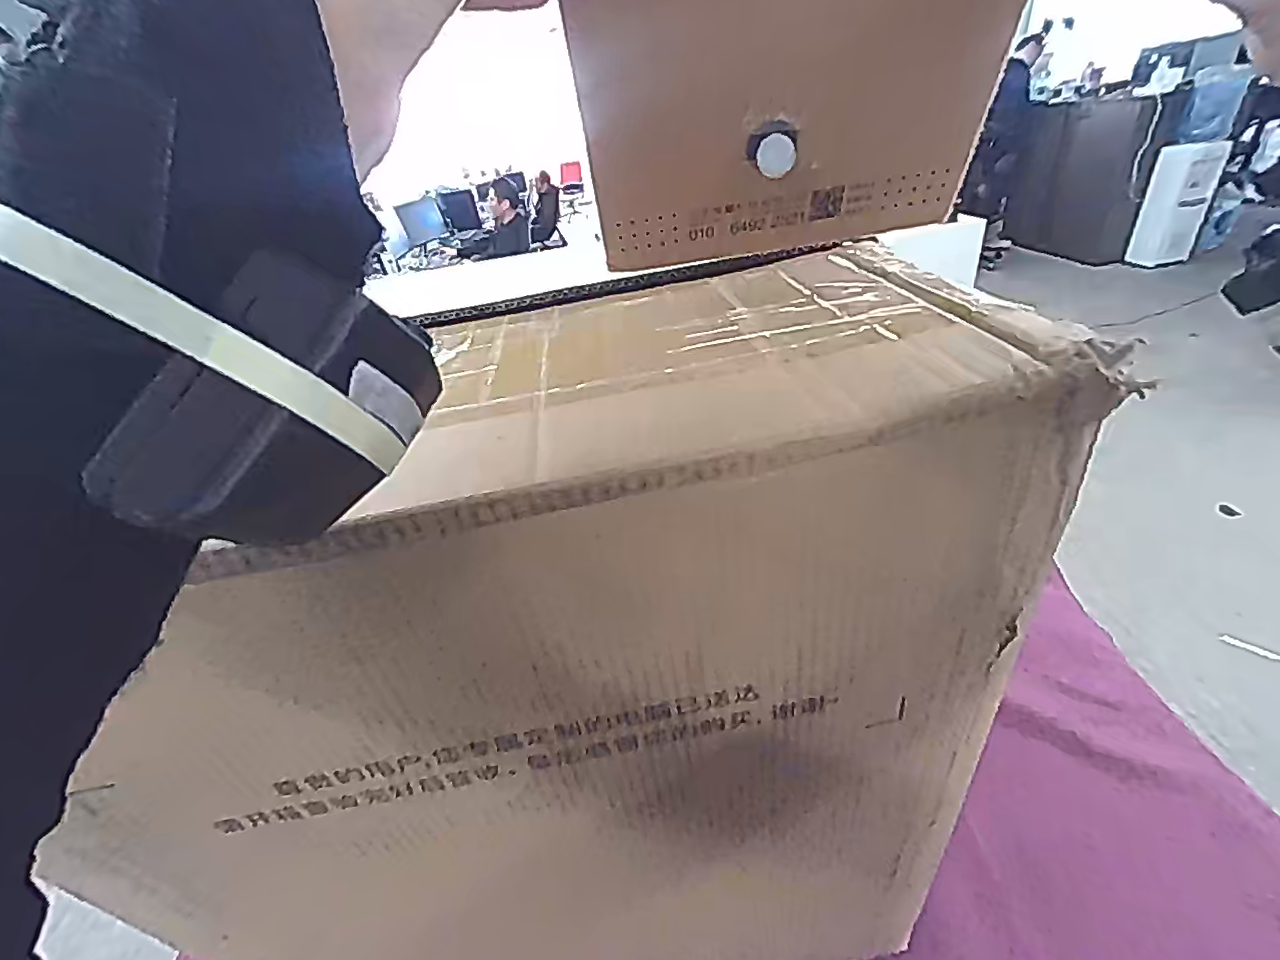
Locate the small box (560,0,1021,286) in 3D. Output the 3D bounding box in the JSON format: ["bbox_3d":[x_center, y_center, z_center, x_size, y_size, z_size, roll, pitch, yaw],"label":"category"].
[{"bbox_3d":[0.050,-0.220,0.252,0.168,0.176,0.179,-8,57,4],"label":"small box"}]
